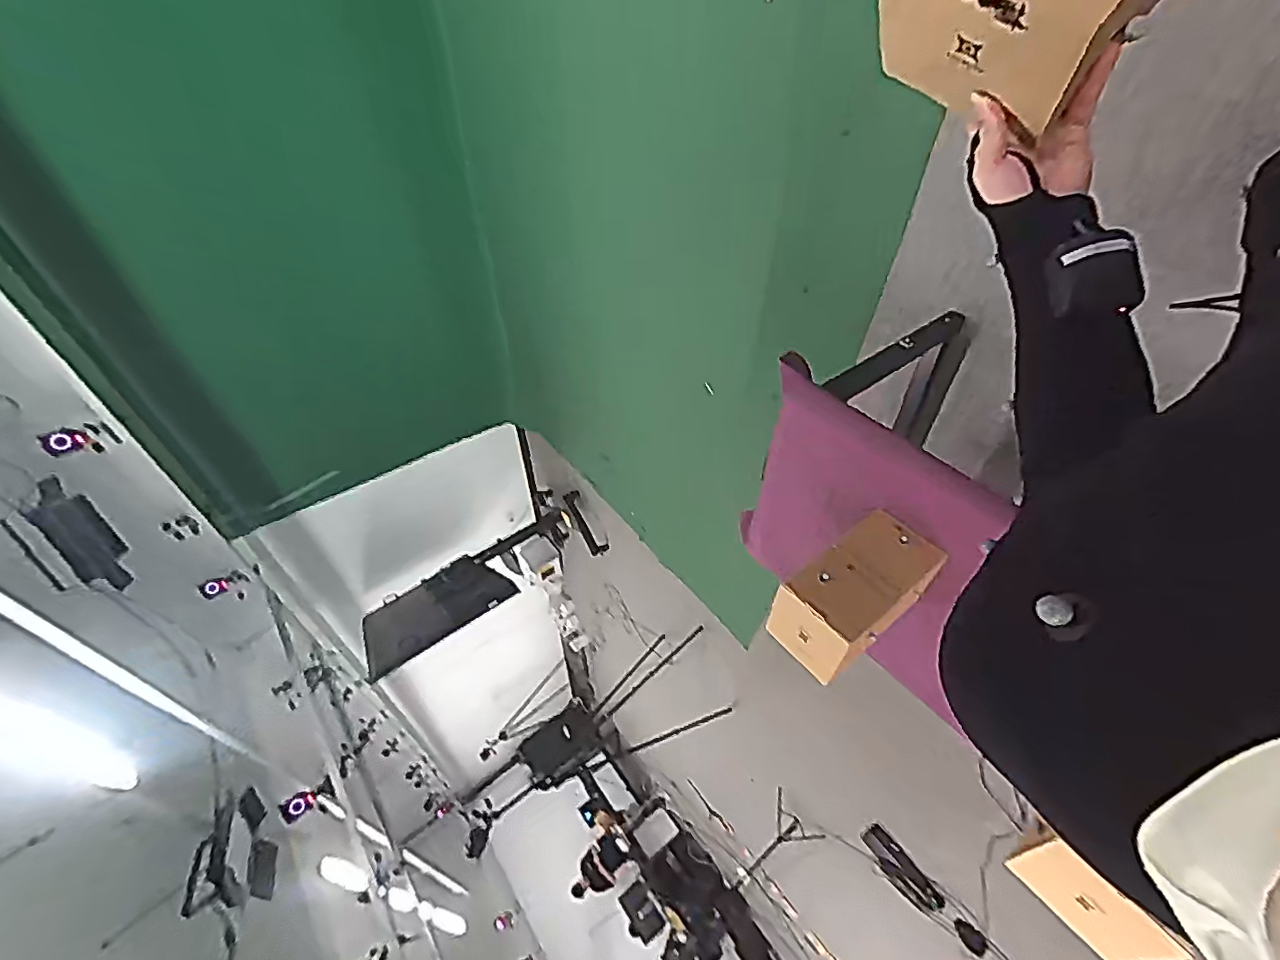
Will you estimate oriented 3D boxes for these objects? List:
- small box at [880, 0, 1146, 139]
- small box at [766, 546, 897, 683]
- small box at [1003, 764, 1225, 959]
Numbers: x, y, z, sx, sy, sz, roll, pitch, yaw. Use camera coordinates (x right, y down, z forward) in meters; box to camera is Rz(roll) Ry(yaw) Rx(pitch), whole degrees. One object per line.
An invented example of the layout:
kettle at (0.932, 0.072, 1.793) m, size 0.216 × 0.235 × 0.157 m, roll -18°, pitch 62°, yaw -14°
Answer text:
small box at (0.306, -0.413, 0.404) m, size 0.168 × 0.179 × 0.176 m, roll 43°, pitch 111°, yaw 15°
small box at (0.387, 0.265, 1.096) m, size 0.168 × 0.176 × 0.179 m, roll 43°, pitch 149°, yaw 34°
small box at (0.706, 0.571, 0.814) m, size 0.168 × 0.176 × 0.179 m, roll 43°, pitch 148°, yaw 35°
